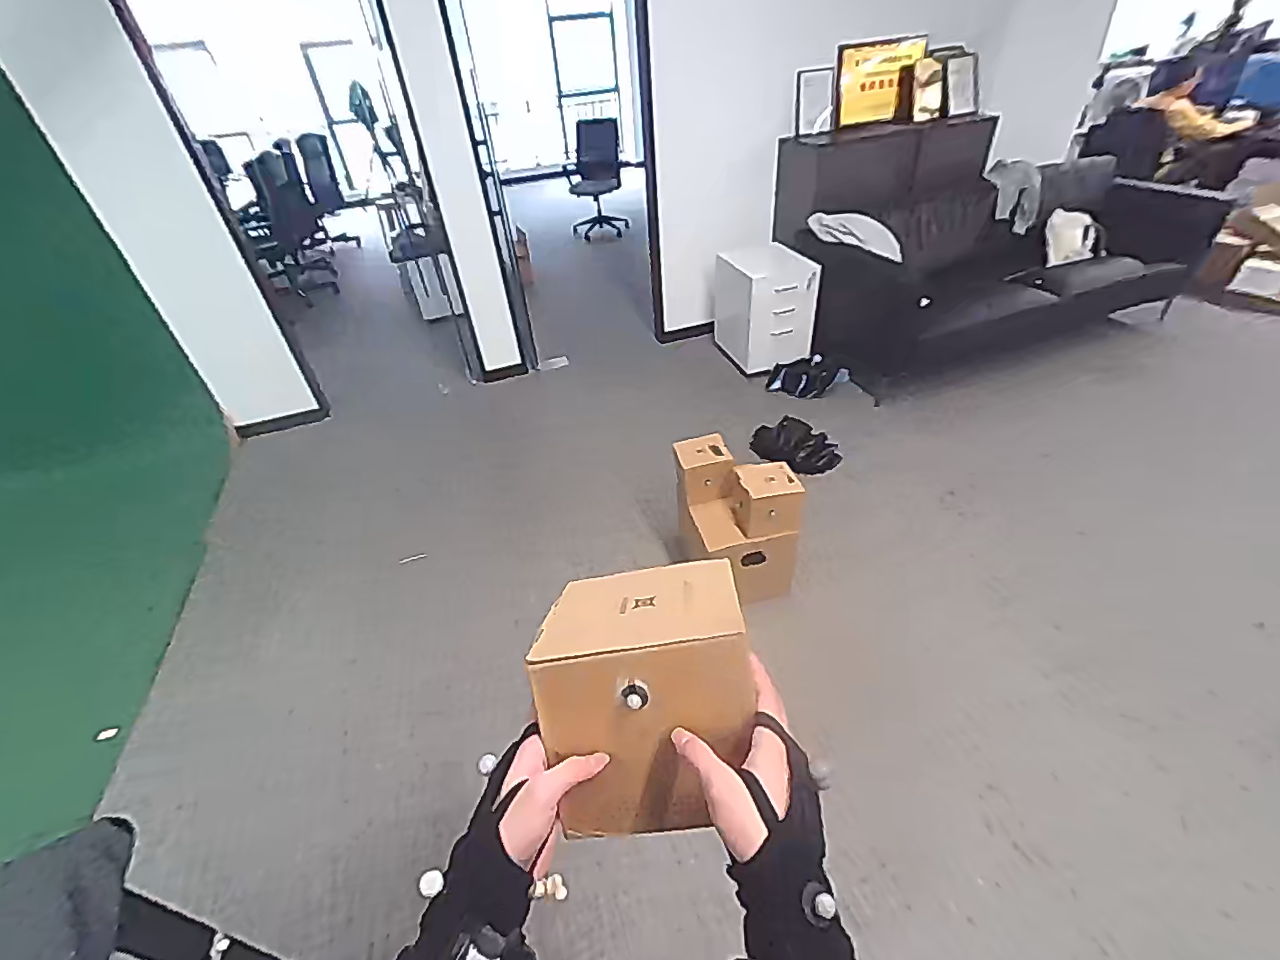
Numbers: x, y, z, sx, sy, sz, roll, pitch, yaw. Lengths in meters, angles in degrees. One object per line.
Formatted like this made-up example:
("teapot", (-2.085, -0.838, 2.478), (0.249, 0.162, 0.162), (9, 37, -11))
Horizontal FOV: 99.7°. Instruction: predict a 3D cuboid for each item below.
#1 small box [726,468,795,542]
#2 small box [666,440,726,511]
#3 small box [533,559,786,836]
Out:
("small box", (0.389, 0.085, 1.775), (0.179, 0.176, 0.168), (-9, 37, -8))
("small box", (0.198, -0.015, 1.925), (0.179, 0.176, 0.168), (-12, 38, -5))
("small box", (0.022, 0.186, 0.490), (0.179, 0.176, 0.168), (-8, 10, 4))
